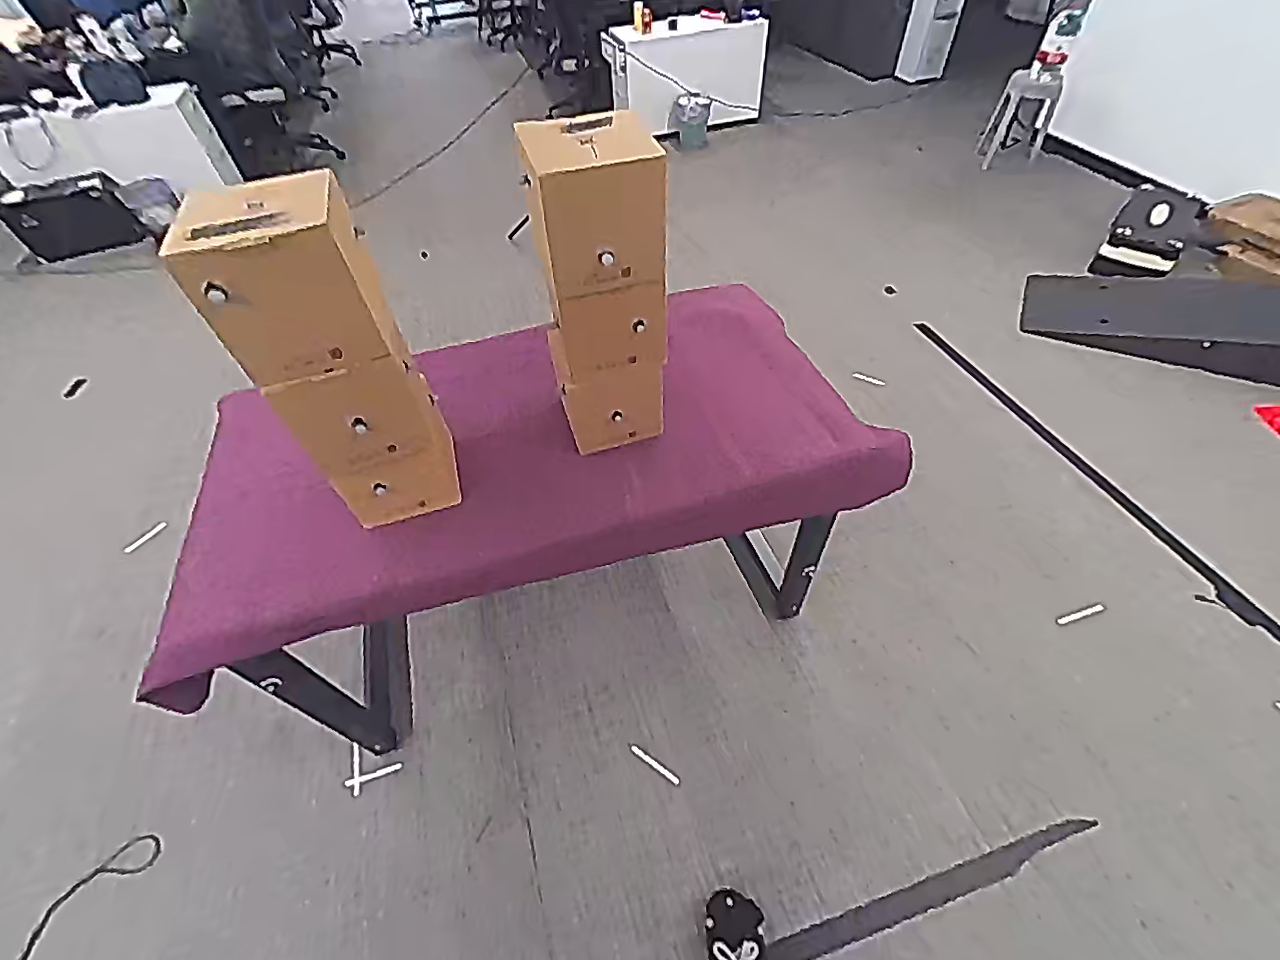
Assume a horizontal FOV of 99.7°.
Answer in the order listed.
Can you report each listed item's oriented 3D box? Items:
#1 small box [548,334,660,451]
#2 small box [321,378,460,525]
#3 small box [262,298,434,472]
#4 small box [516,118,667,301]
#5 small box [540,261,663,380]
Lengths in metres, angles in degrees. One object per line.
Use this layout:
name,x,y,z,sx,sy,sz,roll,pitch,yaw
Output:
small box,-0.064,-0.174,1.018,0.168,0.176,0.179,-15,51,-10
small box,-0.421,-0.042,0.932,0.168,0.176,0.179,-16,51,-10
small box,-0.418,-0.132,0.794,0.168,0.176,0.179,-20,52,-13
small box,-0.068,-0.380,0.764,0.168,0.176,0.179,-15,52,-10
small box,-0.061,-0.283,0.897,0.168,0.176,0.179,-14,50,-9
